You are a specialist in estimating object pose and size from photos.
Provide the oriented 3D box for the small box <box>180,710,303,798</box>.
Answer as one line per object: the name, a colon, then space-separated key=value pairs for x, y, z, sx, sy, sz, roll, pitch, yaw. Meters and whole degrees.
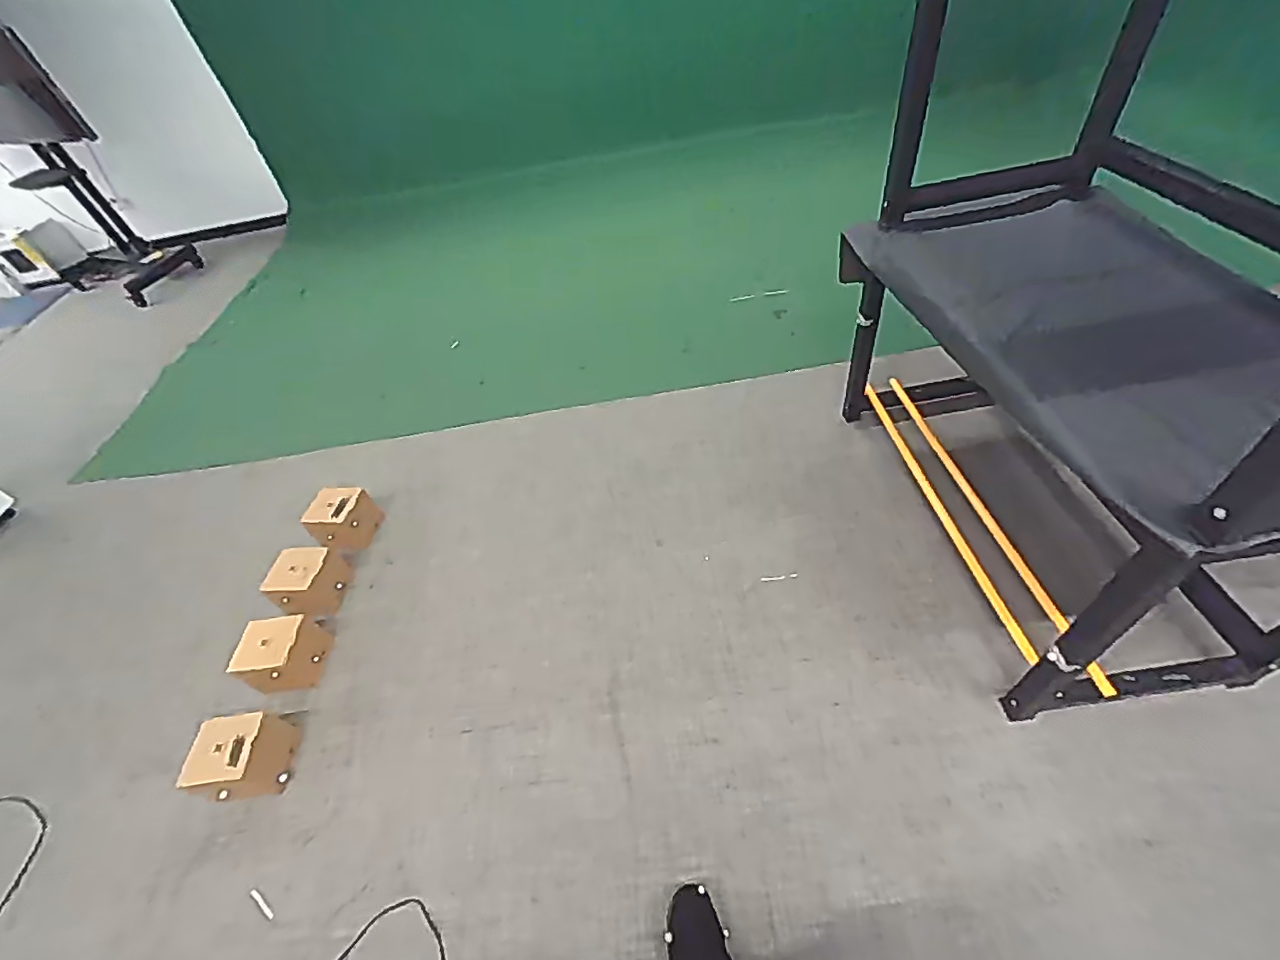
small box: x=-1.053 y=0.736 z=1.449 sx=0.179 sy=0.176 sz=0.168 roll=-9 pitch=46 yaw=3

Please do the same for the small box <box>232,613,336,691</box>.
small box: x=-1.076 y=0.528 z=1.650 sx=0.179 sy=0.176 sz=0.168 roll=-8 pitch=47 yaw=3

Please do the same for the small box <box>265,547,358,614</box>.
small box: x=-1.101 y=0.342 z=1.826 sx=0.179 sy=0.176 sz=0.168 roll=-2 pitch=48 yaw=8
